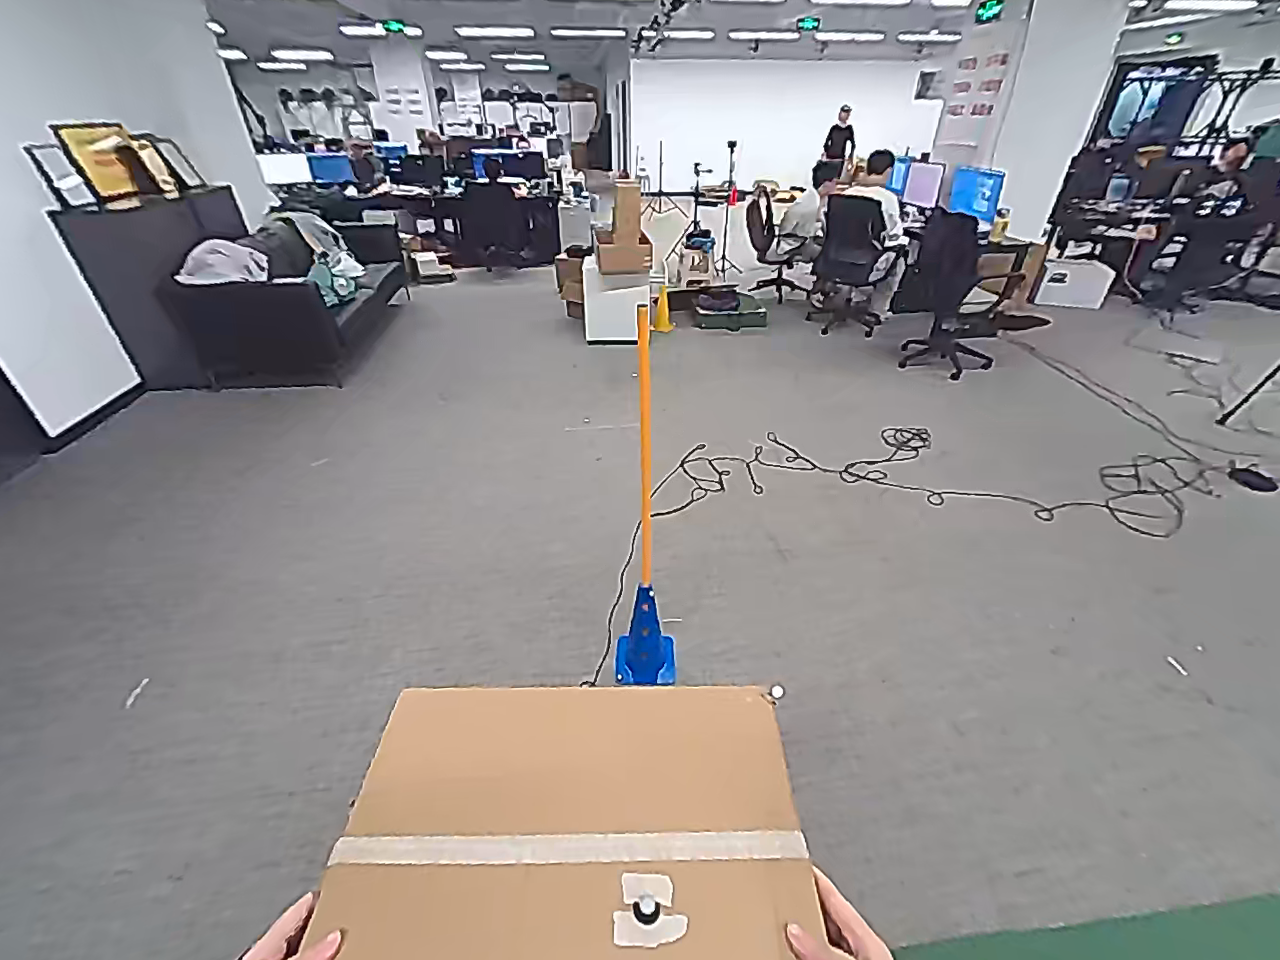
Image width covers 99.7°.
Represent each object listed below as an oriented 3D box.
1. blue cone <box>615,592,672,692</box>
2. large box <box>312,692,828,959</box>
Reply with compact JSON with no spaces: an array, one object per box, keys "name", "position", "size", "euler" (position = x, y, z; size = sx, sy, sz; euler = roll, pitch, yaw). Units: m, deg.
[{"name":"blue cone","position":[0.011,0.501,1.756],"size":[0.193,0.380,0.192],"euler":[1,34,2]},{"name":"large box","position":[-0.056,0.448,0.559],"size":[0.408,0.320,0.320],"euler":[0,36,-1]}]
